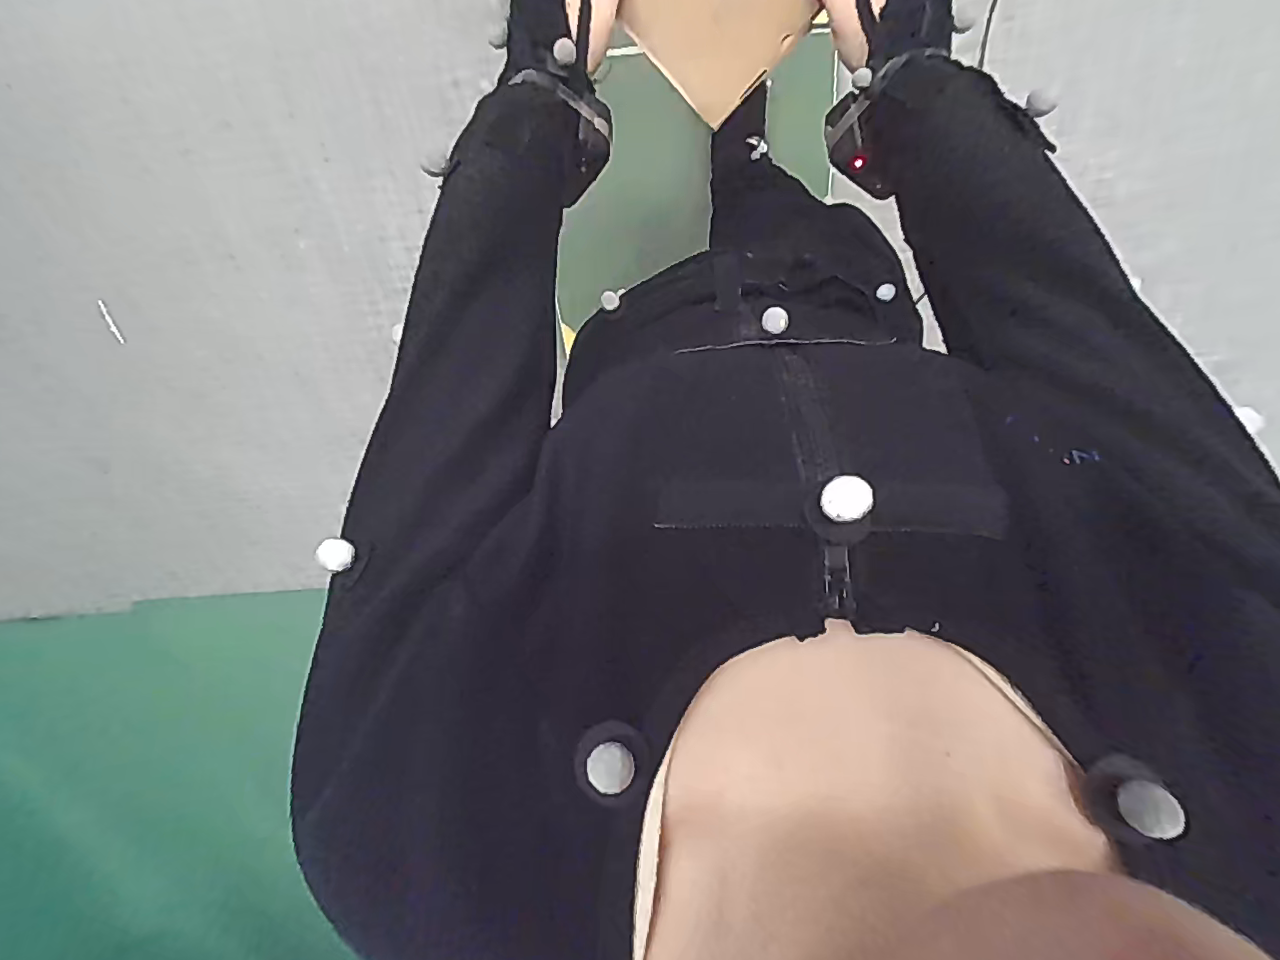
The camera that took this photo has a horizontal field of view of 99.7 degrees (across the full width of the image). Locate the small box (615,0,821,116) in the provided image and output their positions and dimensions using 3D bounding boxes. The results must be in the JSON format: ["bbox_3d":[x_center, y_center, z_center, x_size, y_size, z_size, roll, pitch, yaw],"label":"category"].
[{"bbox_3d":[0.062,-0.461,0.448,0.179,0.176,0.168,33,130,-28],"label":"small box"}]
